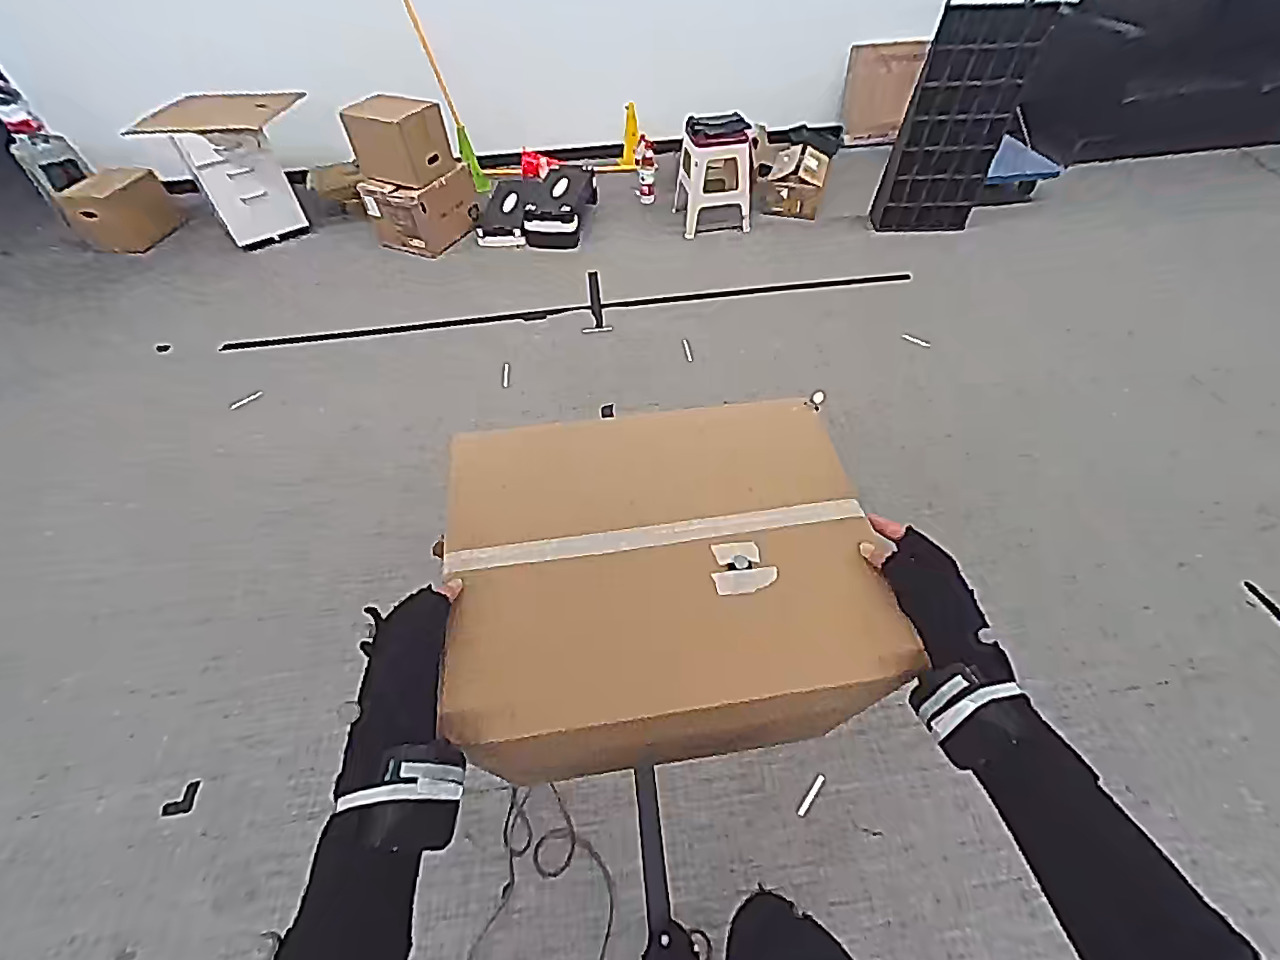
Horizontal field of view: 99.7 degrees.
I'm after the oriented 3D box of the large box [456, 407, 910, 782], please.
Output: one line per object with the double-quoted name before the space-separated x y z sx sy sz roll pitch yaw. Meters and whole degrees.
"large box" 0.017 0.146 0.659 0.408 0.320 0.320 -7 57 -6
